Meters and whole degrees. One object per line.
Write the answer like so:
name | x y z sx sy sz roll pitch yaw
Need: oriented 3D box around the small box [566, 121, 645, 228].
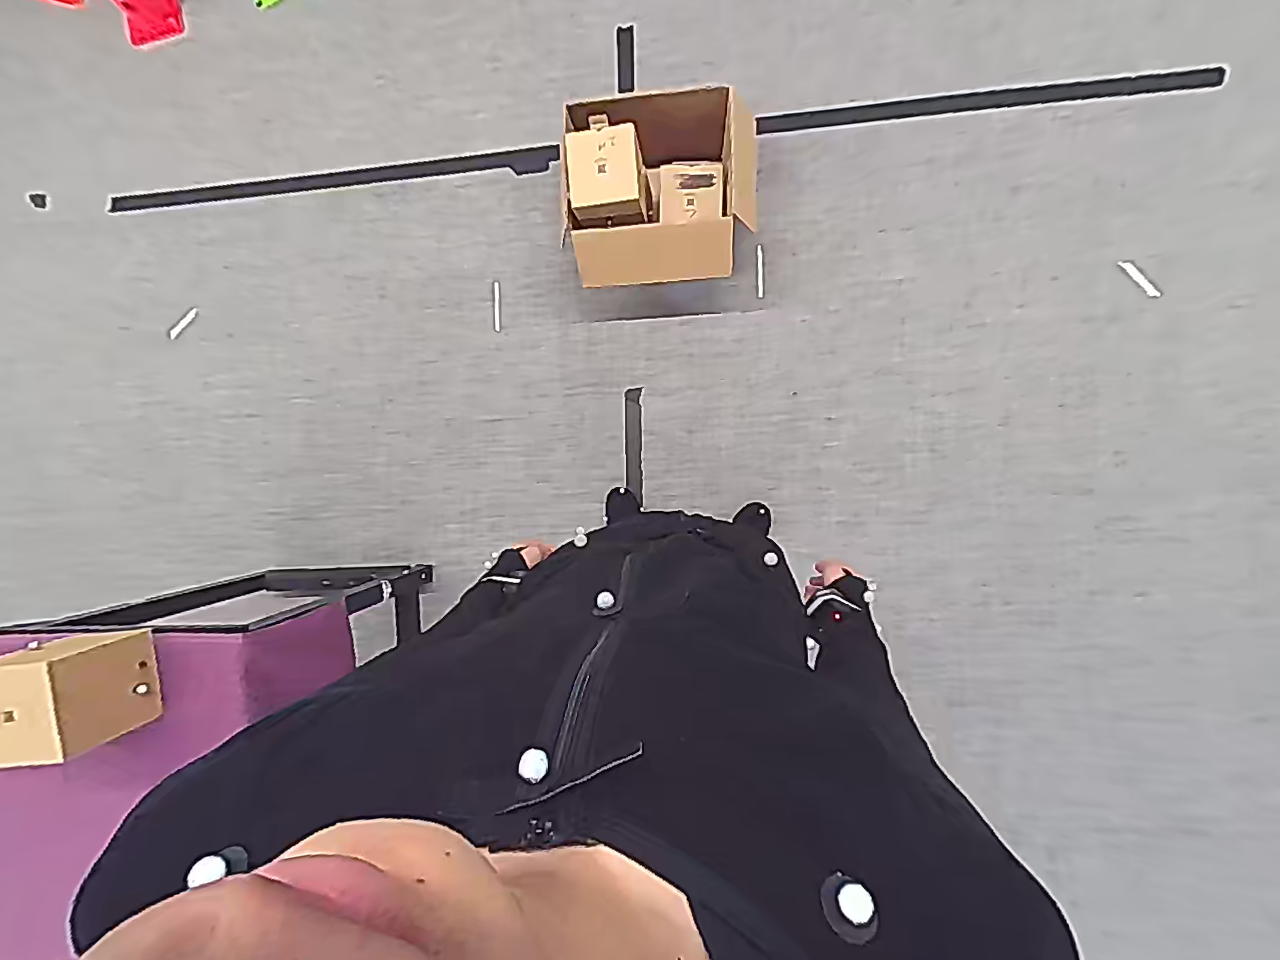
small box | -0.080 -0.747 1.346 0.168 0.176 0.179 -3 92 6

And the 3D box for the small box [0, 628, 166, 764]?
small box | -0.986 0.366 0.937 0.179 0.176 0.168 -7 93 7
